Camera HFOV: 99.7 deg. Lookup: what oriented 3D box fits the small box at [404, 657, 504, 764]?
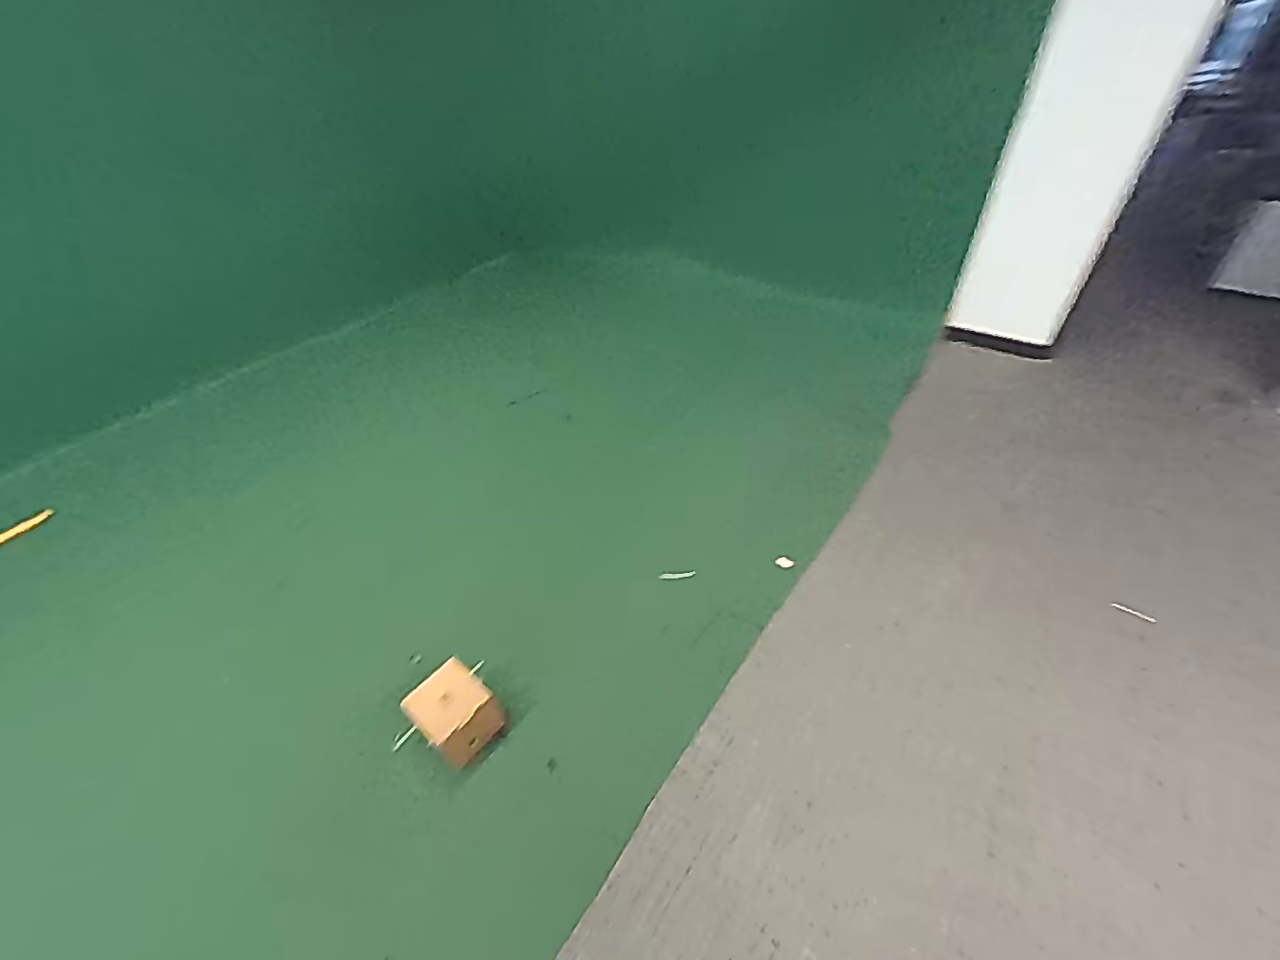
[{"bbox_3d":[-0.496,0.626,1.462,0.179,0.176,0.168,29,52,30],"label":"small box"}]
